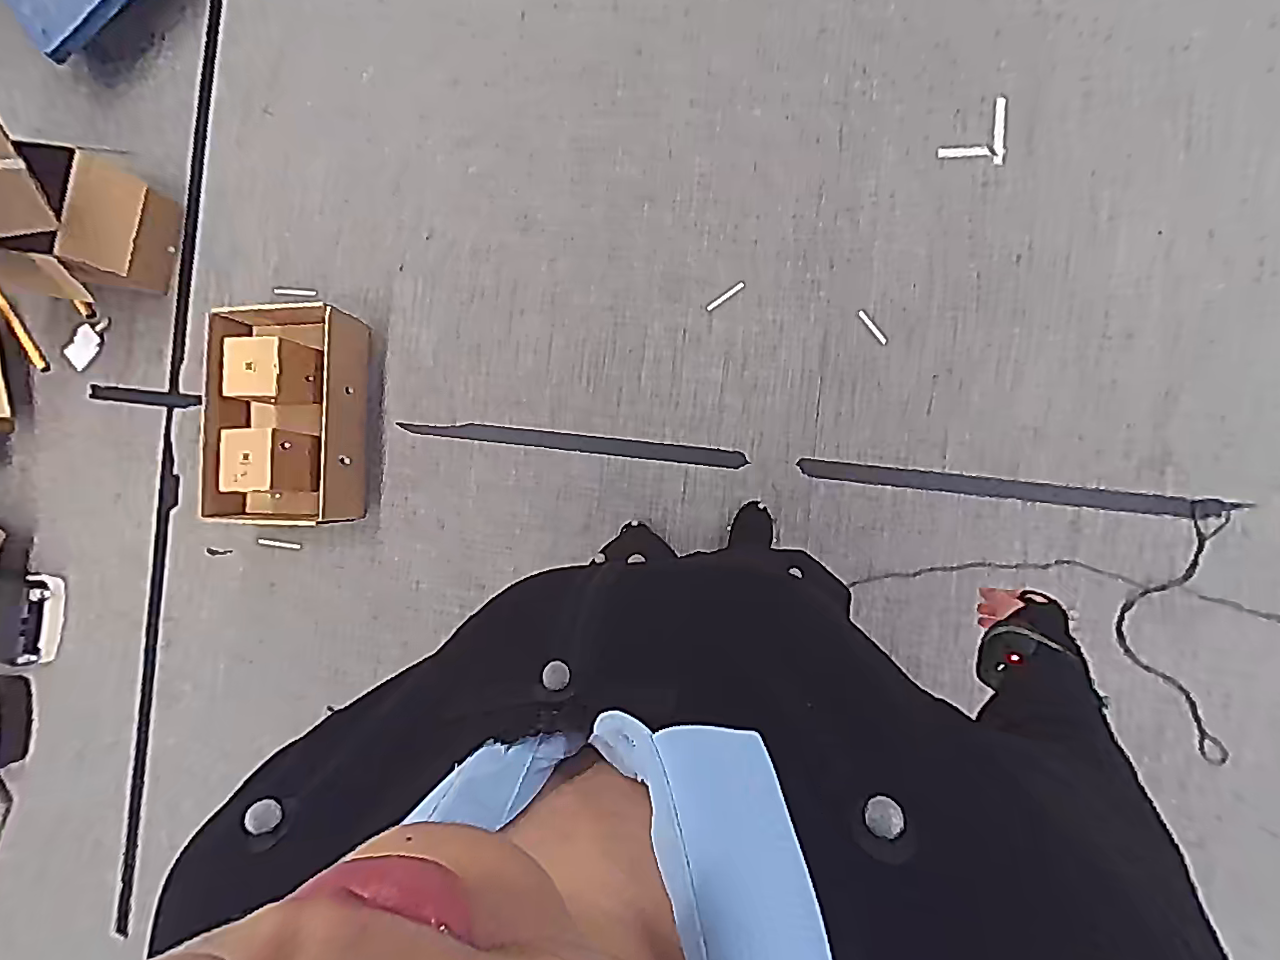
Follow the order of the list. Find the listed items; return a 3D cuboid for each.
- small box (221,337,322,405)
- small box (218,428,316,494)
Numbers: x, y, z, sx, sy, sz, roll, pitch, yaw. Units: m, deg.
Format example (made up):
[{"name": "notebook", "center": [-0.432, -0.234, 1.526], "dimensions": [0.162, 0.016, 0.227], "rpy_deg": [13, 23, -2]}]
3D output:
[{"name": "small box", "center": [-1.064, -0.310, 1.569], "dimensions": [0.179, 0.176, 0.168], "rpy_deg": [1, 89, 9]}, {"name": "small box", "center": [-1.068, -0.050, 1.560], "dimensions": [0.168, 0.176, 0.179], "rpy_deg": [-1, 87, 10]}]
